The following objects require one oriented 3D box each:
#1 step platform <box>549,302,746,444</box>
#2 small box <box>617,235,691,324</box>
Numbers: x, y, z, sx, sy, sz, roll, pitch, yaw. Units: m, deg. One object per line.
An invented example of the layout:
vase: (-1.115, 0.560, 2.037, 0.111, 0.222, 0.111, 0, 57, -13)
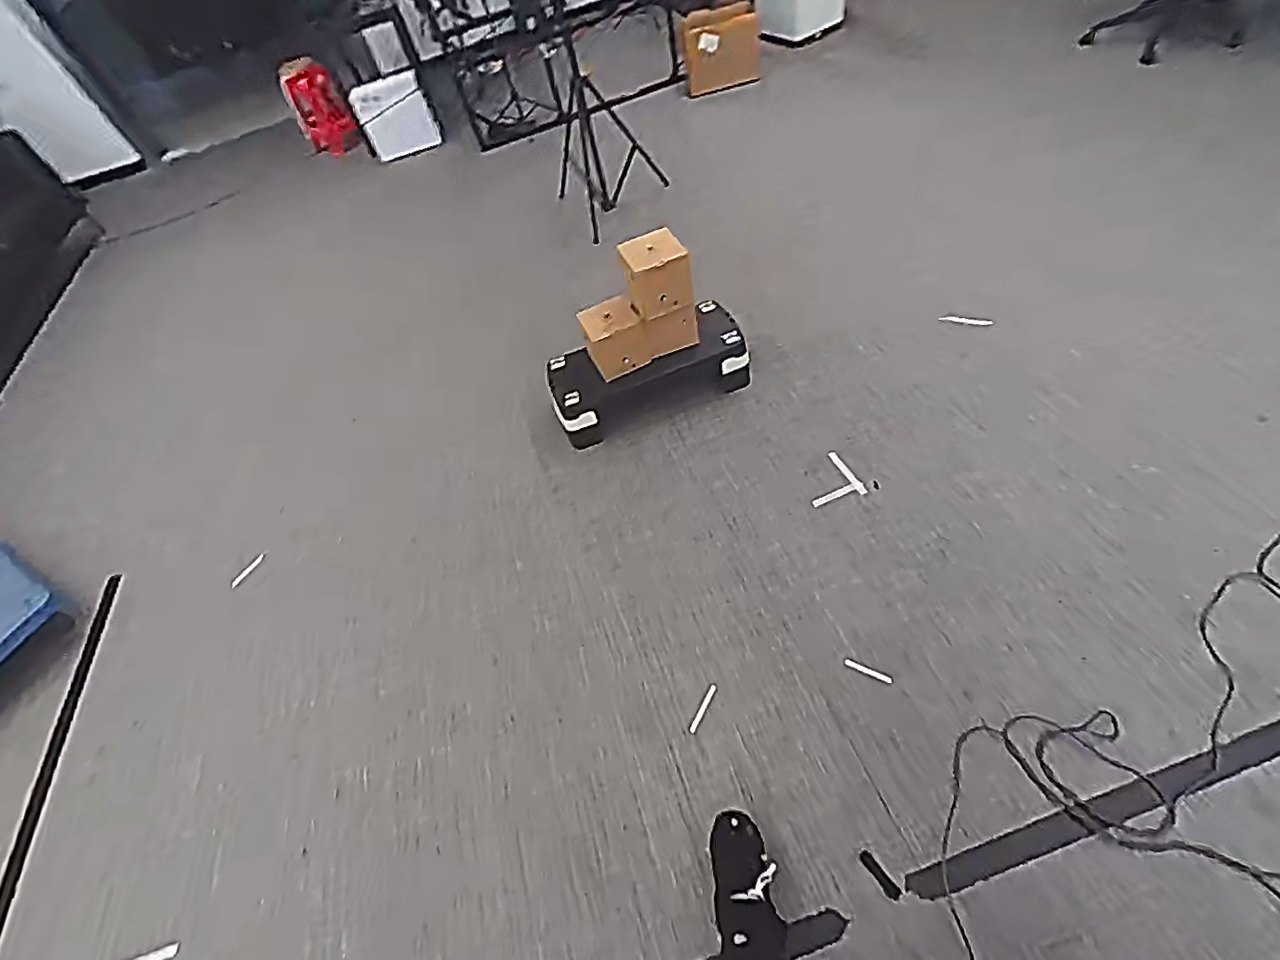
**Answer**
step platform: (0.024, -0.386, 1.915, 0.684, 0.204, 0.286, -22, 51, -3)
small box: (0.044, -0.608, 1.650, 0.168, 0.176, 0.179, -23, 52, -5)
